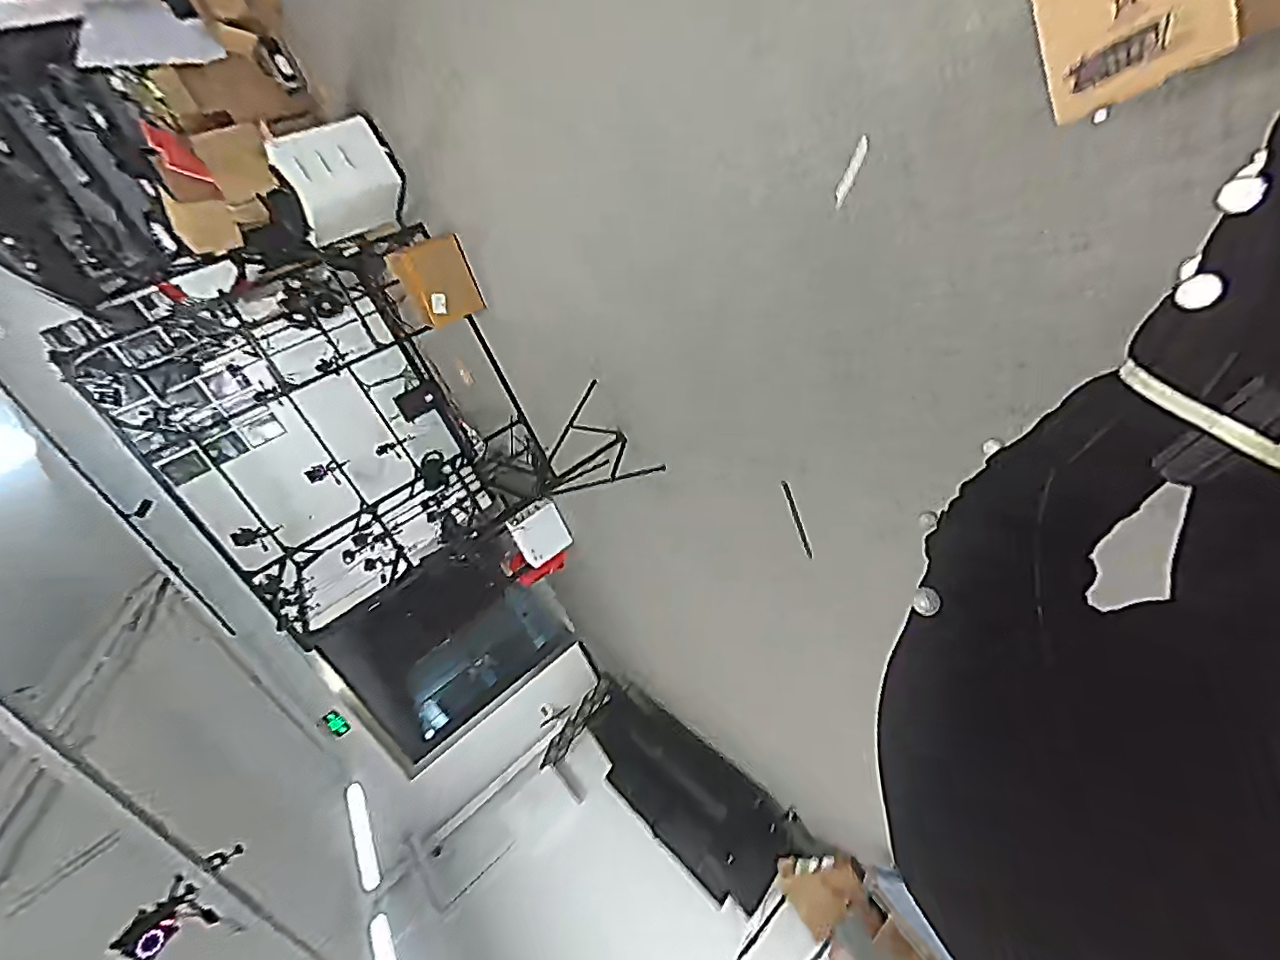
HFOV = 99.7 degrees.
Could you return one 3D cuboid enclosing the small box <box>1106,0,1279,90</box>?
[{"bbox_3d":[0.736,-0.652,0.694,0.168,0.176,0.179,12,132,57],"label":"small box"}]
